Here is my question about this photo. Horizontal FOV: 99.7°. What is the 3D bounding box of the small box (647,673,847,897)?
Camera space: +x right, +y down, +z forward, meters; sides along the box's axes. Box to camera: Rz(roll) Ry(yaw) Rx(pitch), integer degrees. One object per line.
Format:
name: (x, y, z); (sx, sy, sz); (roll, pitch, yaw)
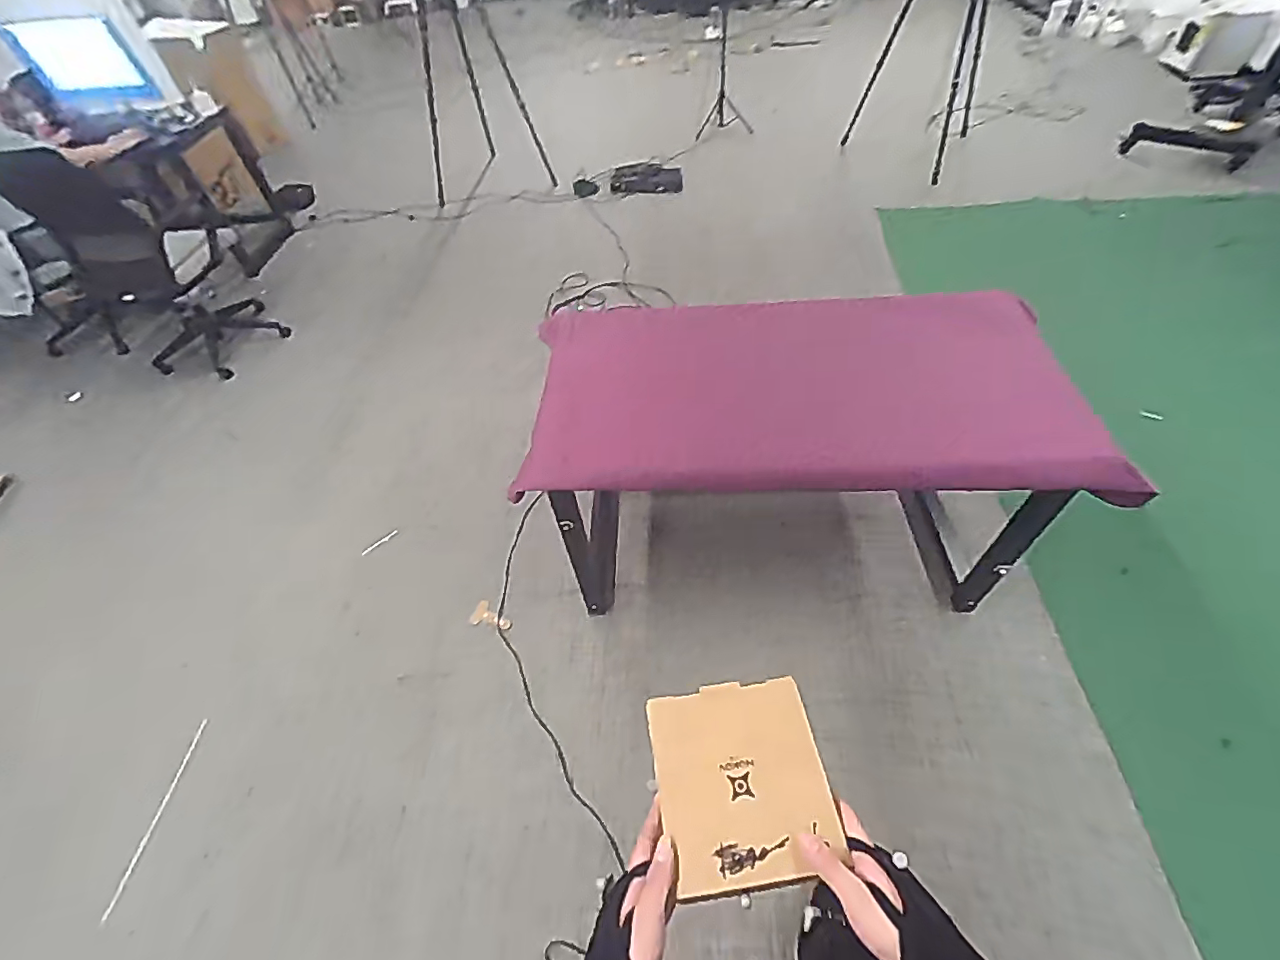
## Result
small box: (0.101, 0.337, 0.596); (0.168, 0.176, 0.179); (-9, 51, -1)
